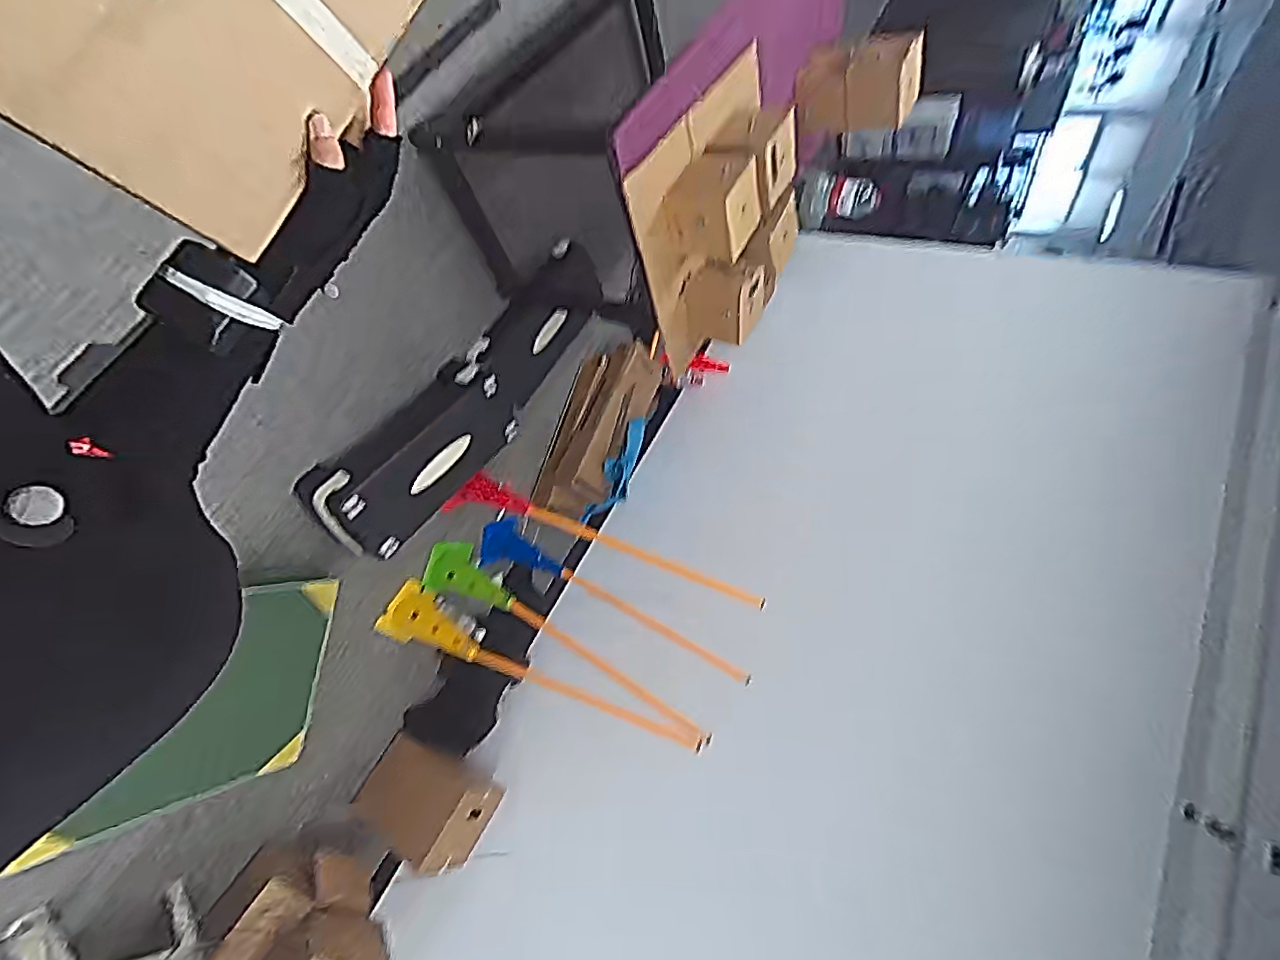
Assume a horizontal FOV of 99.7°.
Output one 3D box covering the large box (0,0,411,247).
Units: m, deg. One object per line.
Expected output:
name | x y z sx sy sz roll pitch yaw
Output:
large box | -0.402 -0.414 0.304 0.320 0.320 0.408 -58 149 0
